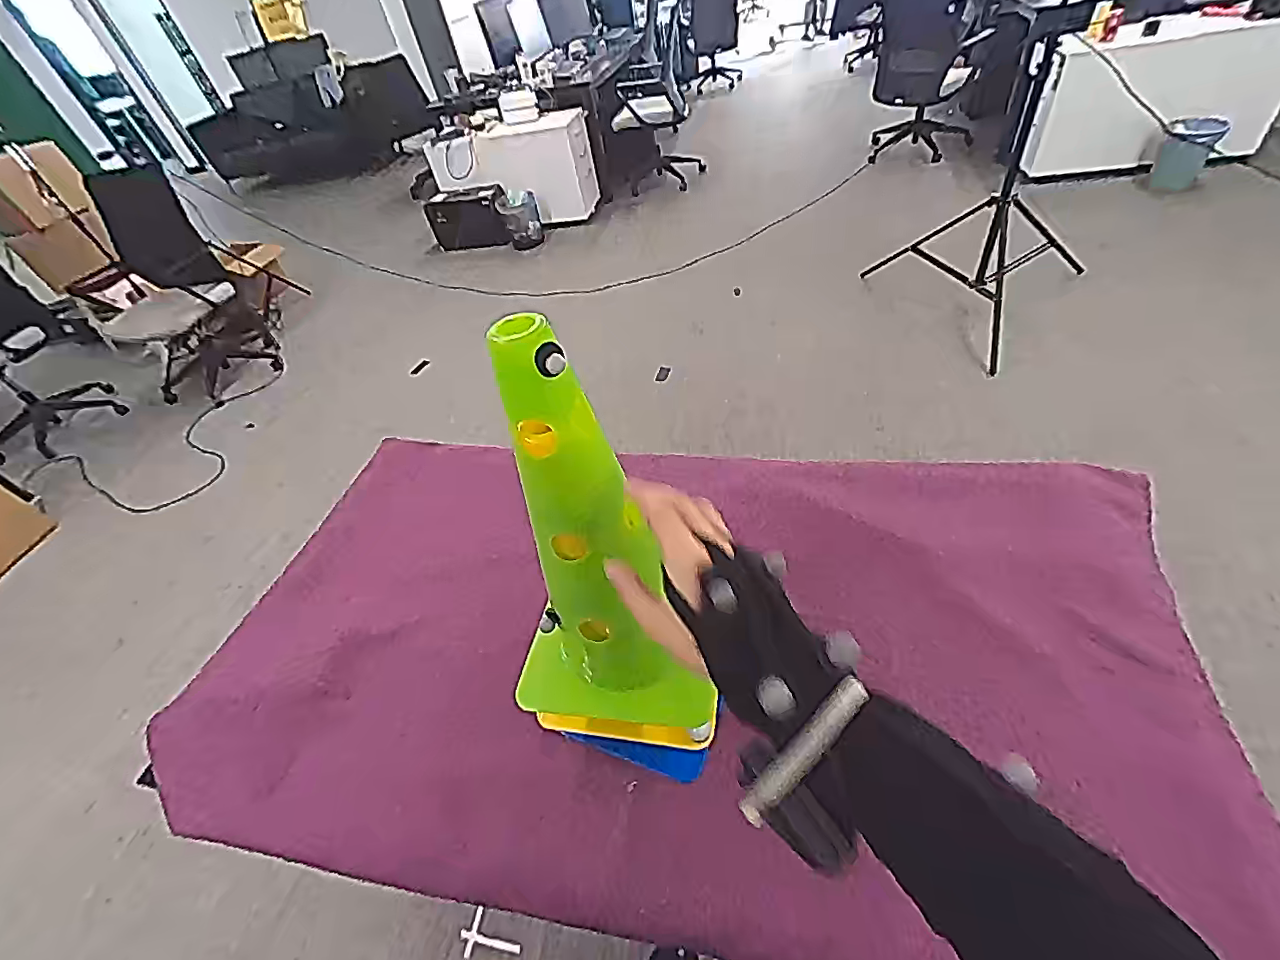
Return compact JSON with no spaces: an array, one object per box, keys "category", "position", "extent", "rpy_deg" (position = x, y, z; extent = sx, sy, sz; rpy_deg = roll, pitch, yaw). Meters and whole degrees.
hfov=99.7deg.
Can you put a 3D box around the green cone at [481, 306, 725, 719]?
[{"category":"green cone","position":[-0.048,0.026,0.461],"extent":[0.200,0.368,0.202],"rpy_deg":[-2,44,15]}]
